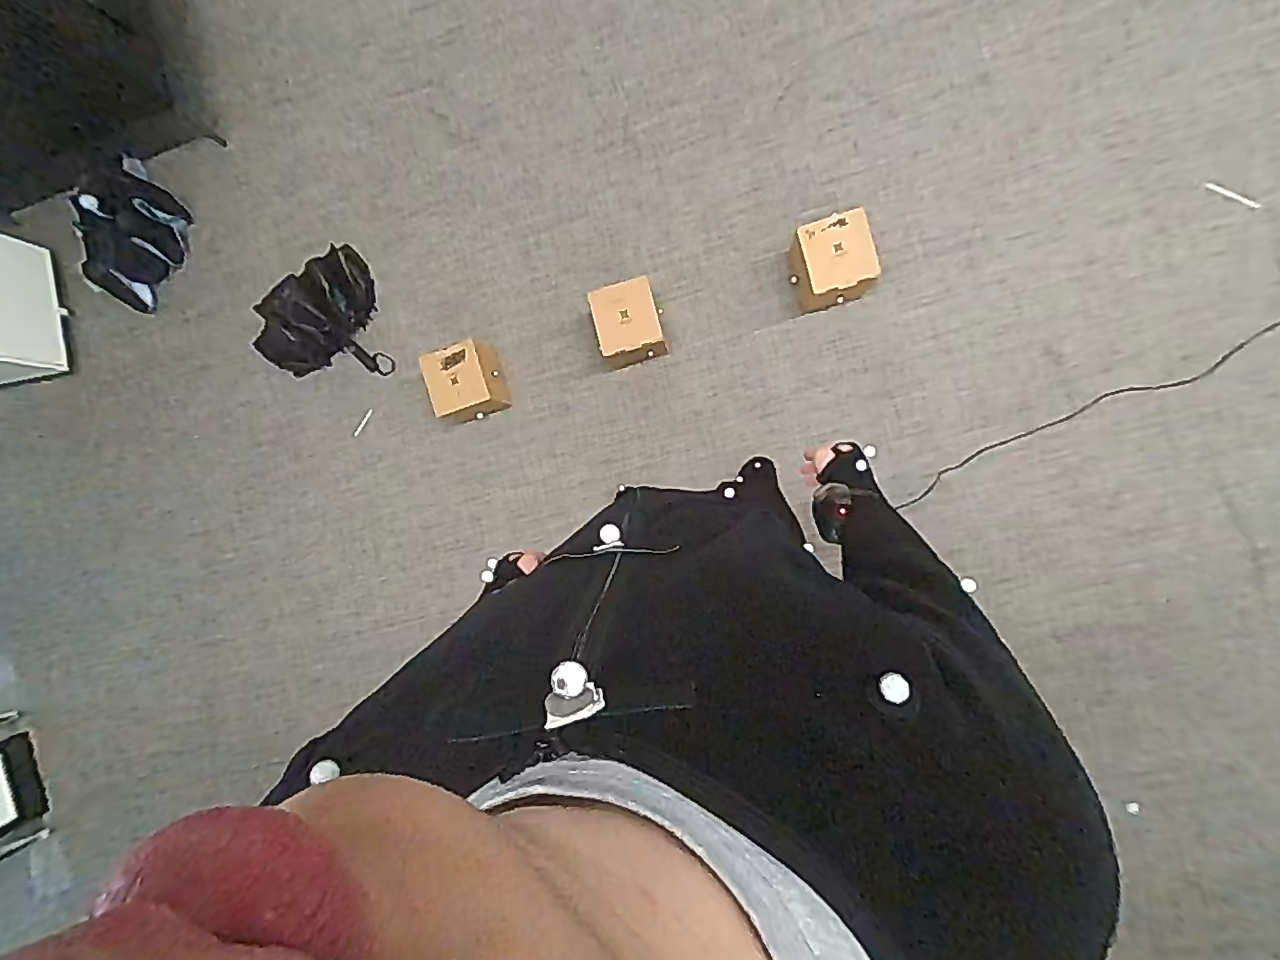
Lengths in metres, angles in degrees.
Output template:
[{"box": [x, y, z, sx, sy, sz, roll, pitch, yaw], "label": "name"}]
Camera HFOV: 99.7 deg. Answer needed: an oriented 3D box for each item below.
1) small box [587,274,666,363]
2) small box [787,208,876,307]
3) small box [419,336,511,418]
[{"box": [-0.032, -0.431, 1.484, 0.168, 0.176, 0.179, -16, 88, 6], "label": "small box"}, {"box": [0.493, -0.567, 1.411, 0.168, 0.176, 0.179, -14, 90, 8], "label": "small box"}, {"box": [-0.492, -0.287, 1.542, 0.168, 0.176, 0.179, -17, 90, 8], "label": "small box"}]
